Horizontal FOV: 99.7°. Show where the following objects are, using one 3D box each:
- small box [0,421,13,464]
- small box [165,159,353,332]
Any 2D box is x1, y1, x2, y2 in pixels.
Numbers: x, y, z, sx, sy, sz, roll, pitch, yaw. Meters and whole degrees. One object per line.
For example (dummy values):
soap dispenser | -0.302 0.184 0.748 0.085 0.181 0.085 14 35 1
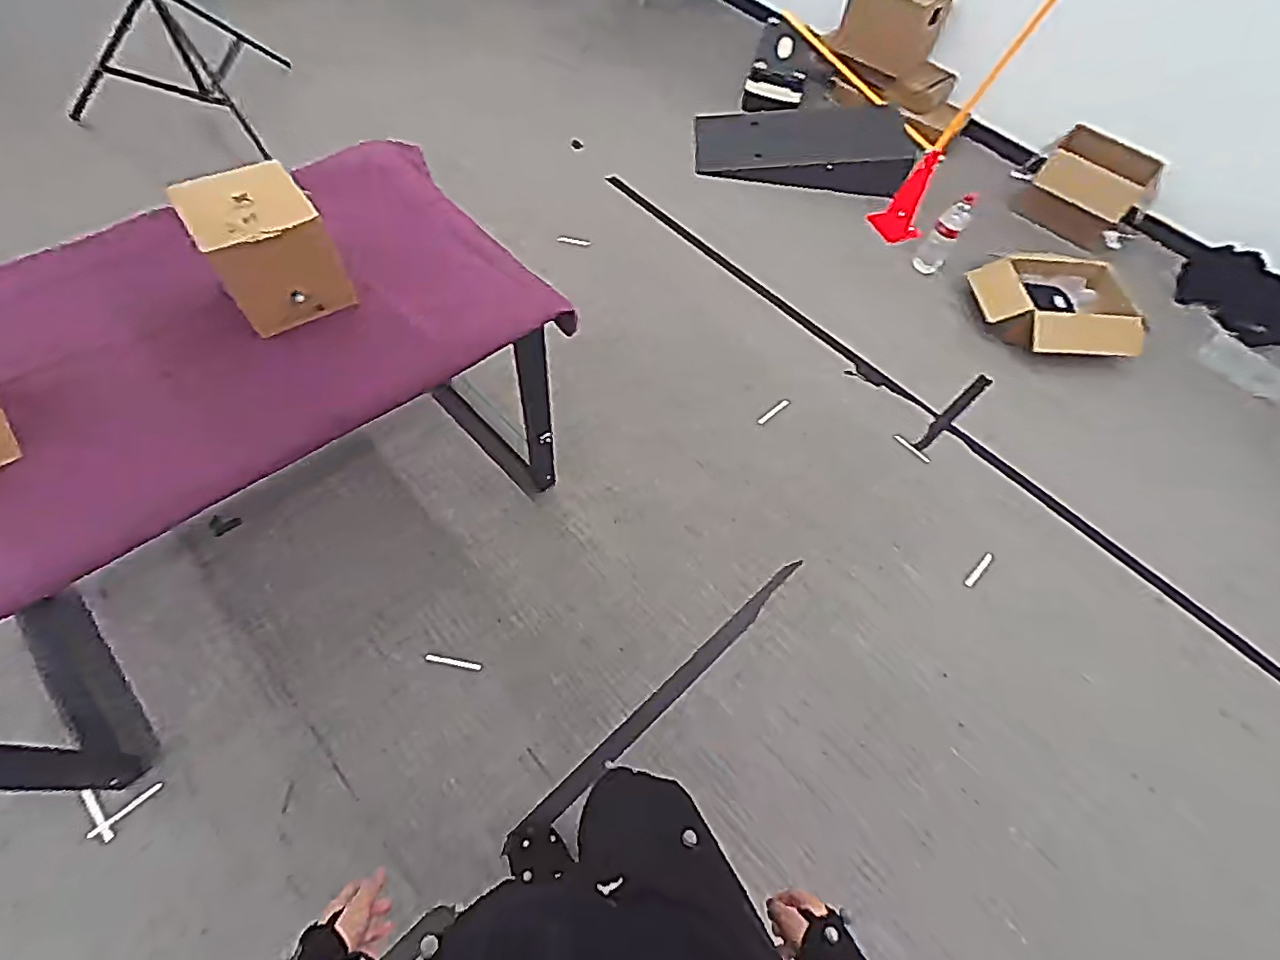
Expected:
small box | -0.959 -0.085 0.669 0.168 0.176 0.179 -37 70 -24
small box | -0.605 -0.376 0.877 0.168 0.176 0.179 -32 69 -21
